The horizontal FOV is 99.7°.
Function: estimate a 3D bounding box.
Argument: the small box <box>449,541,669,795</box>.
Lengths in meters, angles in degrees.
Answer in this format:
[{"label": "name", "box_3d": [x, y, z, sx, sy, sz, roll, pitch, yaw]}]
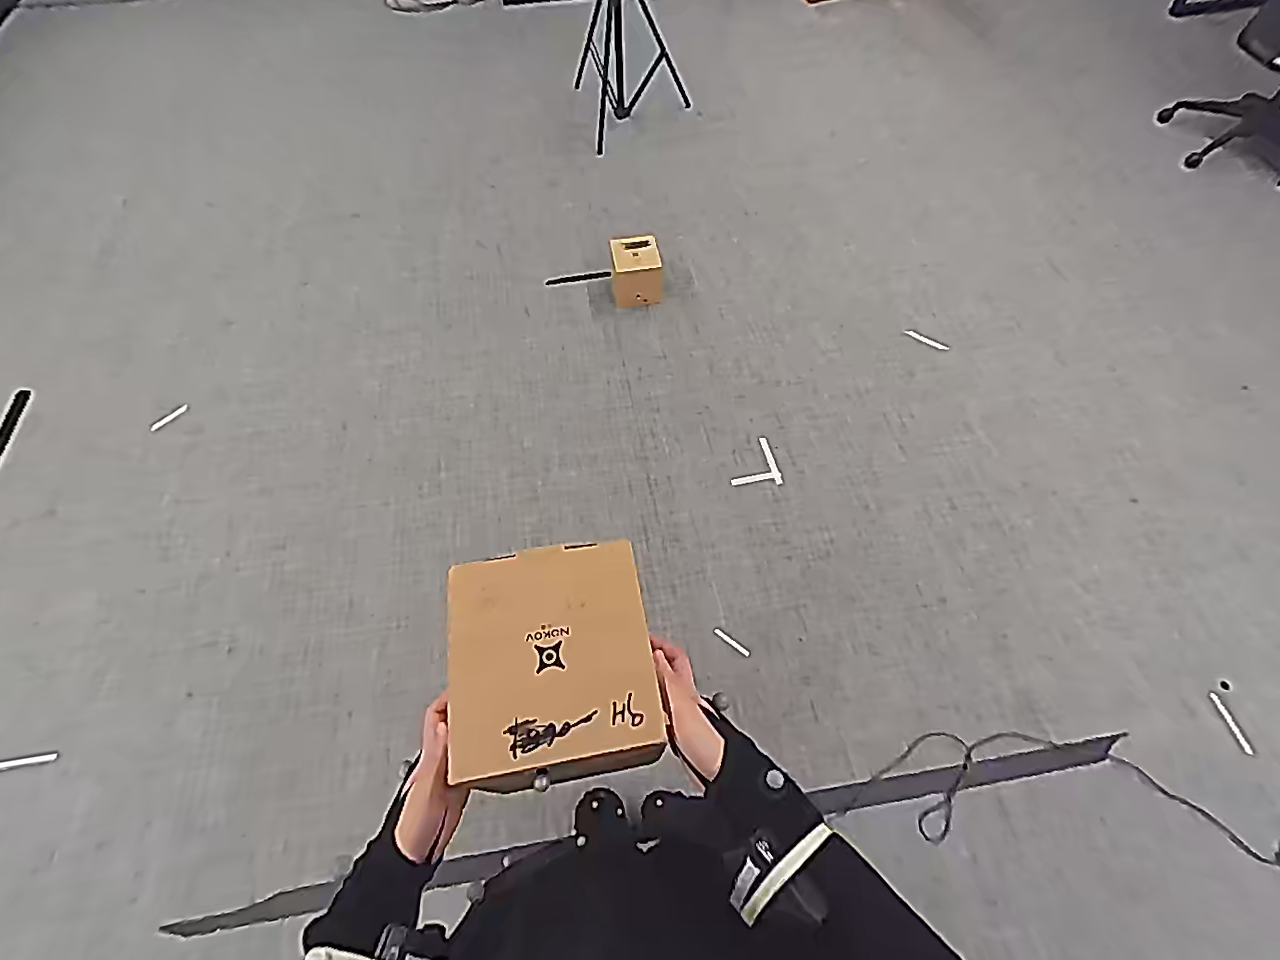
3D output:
[{"label": "small box", "box_3d": [-0.073, 0.180, 0.510, 0.168, 0.176, 0.179, -8, 58, -6]}]
